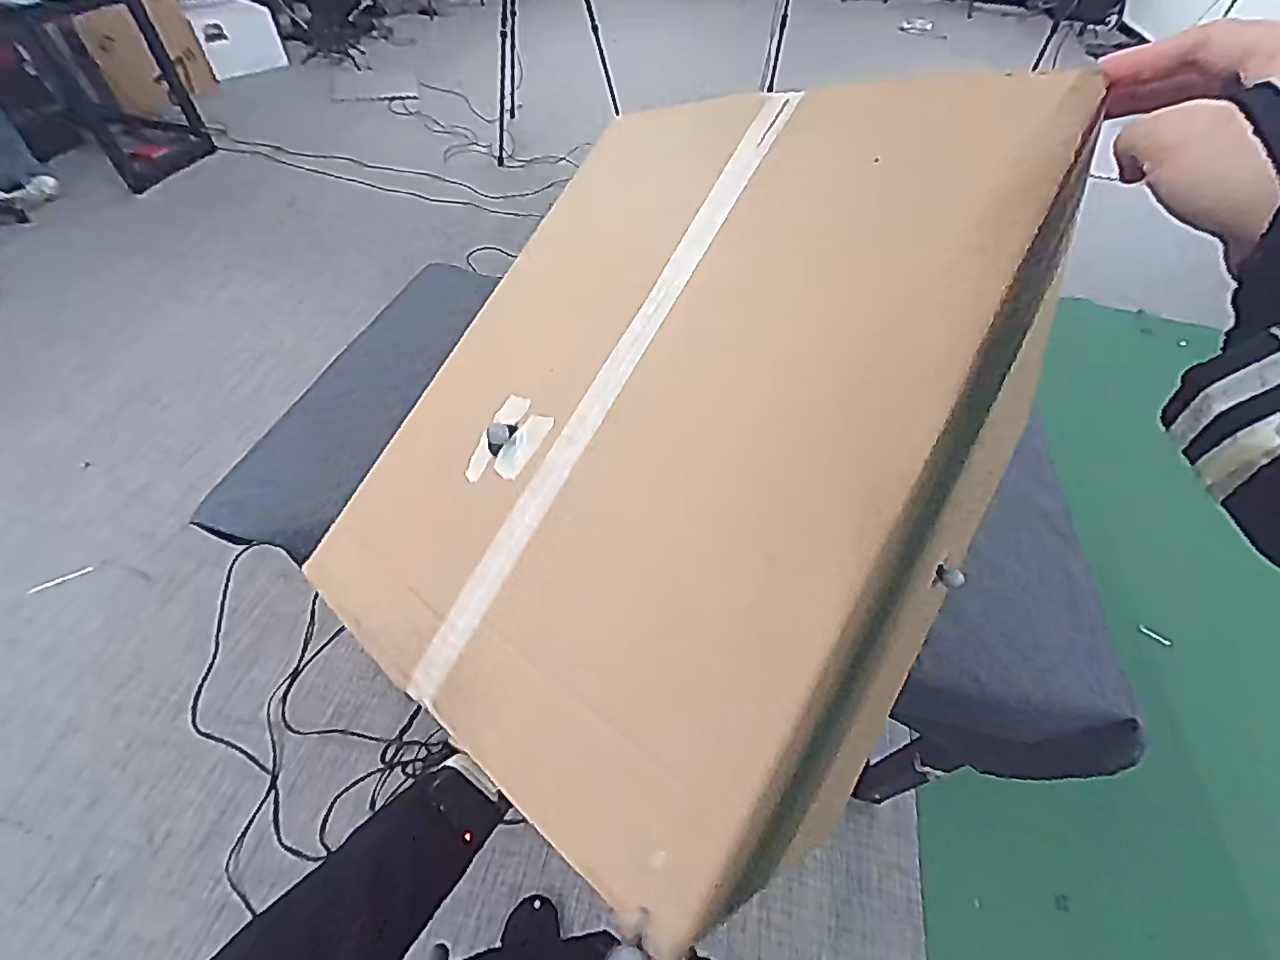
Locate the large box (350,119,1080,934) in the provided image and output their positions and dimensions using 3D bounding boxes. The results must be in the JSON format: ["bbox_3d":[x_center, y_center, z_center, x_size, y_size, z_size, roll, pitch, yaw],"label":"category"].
[{"bbox_3d":[0.074,0.005,0.435,0.320,0.320,0.408,22,79,35],"label":"large box"}]
